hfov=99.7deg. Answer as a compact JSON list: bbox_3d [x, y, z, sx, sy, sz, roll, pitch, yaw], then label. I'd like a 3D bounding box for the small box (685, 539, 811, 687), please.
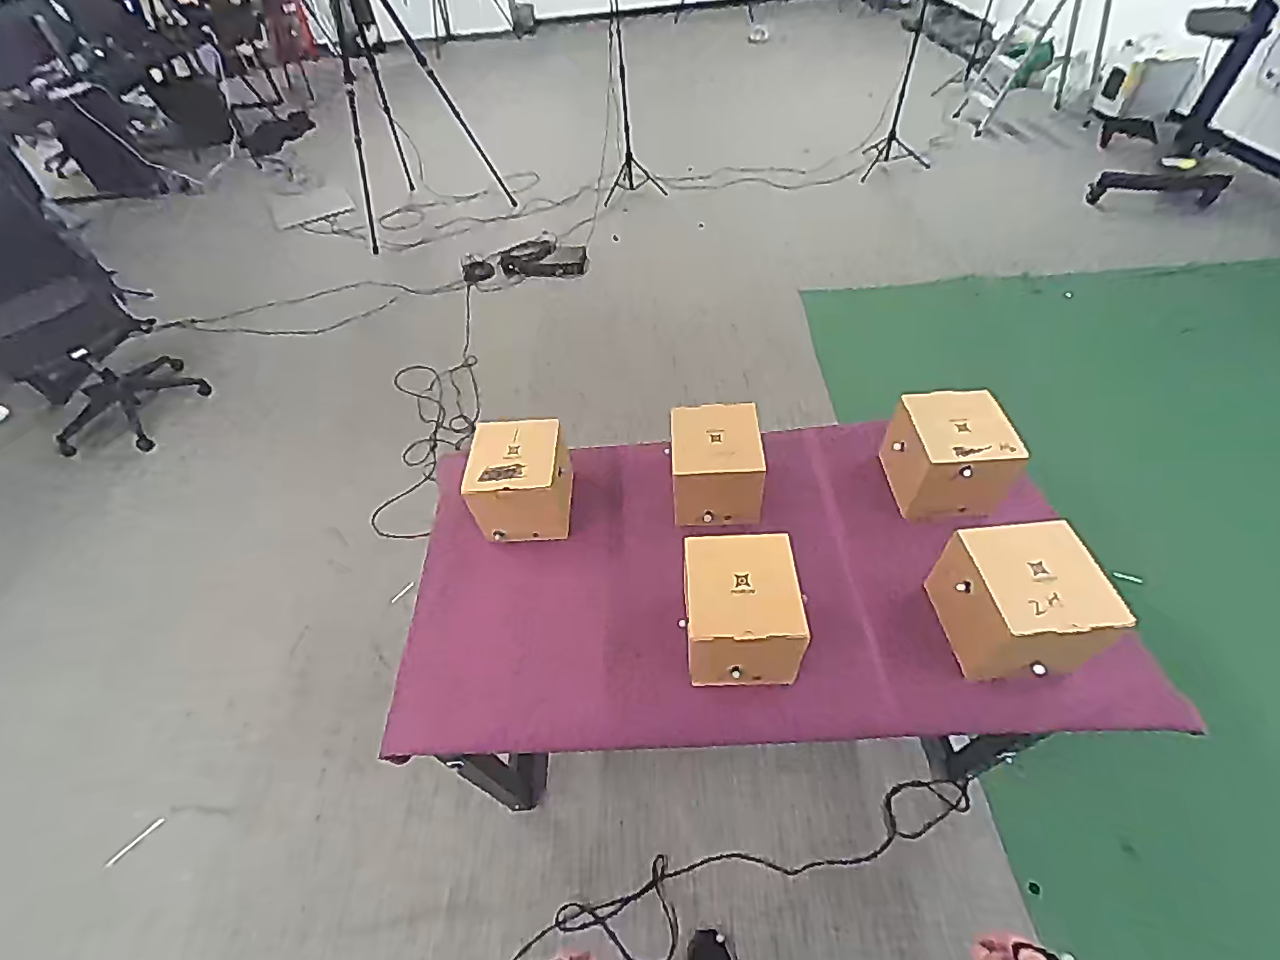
[{"bbox_3d":[0.158,0.211,0.857,0.168,0.176,0.179,-2,50,2],"label":"small box"}]

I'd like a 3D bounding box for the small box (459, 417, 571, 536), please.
[{"bbox_3d":[-0.232,-0.001,1.053,0.168,0.176,0.179,-2,52,2],"label":"small box"}]

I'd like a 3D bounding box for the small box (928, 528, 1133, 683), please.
[{"bbox_3d":[0.577,0.195,0.834,0.168,0.176,0.179,-5,51,2],"label":"small box"}]

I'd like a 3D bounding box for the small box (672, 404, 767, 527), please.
[{"bbox_3d":[0.145,-0.027,1.052,0.168,0.176,0.179,-2,52,4],"label":"small box"}]

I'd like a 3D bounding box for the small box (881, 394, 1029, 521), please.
[{"bbox_3d":[0.581,-0.041,1.029,0.168,0.176,0.179,-3,51,3],"label":"small box"}]
